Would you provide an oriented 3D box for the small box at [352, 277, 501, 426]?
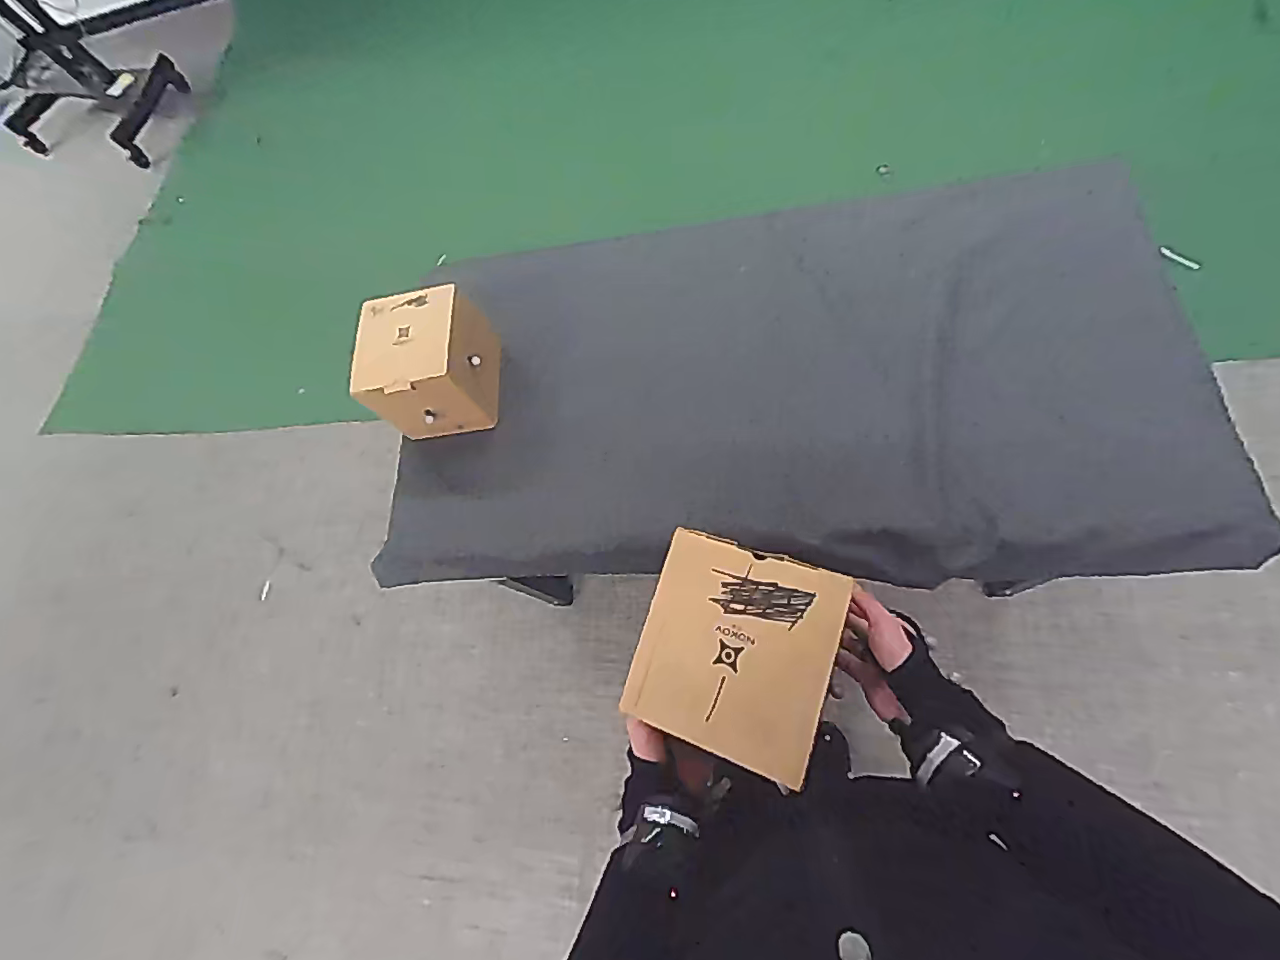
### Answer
[{"bbox_3d":[-0.345,-0.202,0.906,0.168,0.176,0.179,-7,69,10],"label":"small box"}]
